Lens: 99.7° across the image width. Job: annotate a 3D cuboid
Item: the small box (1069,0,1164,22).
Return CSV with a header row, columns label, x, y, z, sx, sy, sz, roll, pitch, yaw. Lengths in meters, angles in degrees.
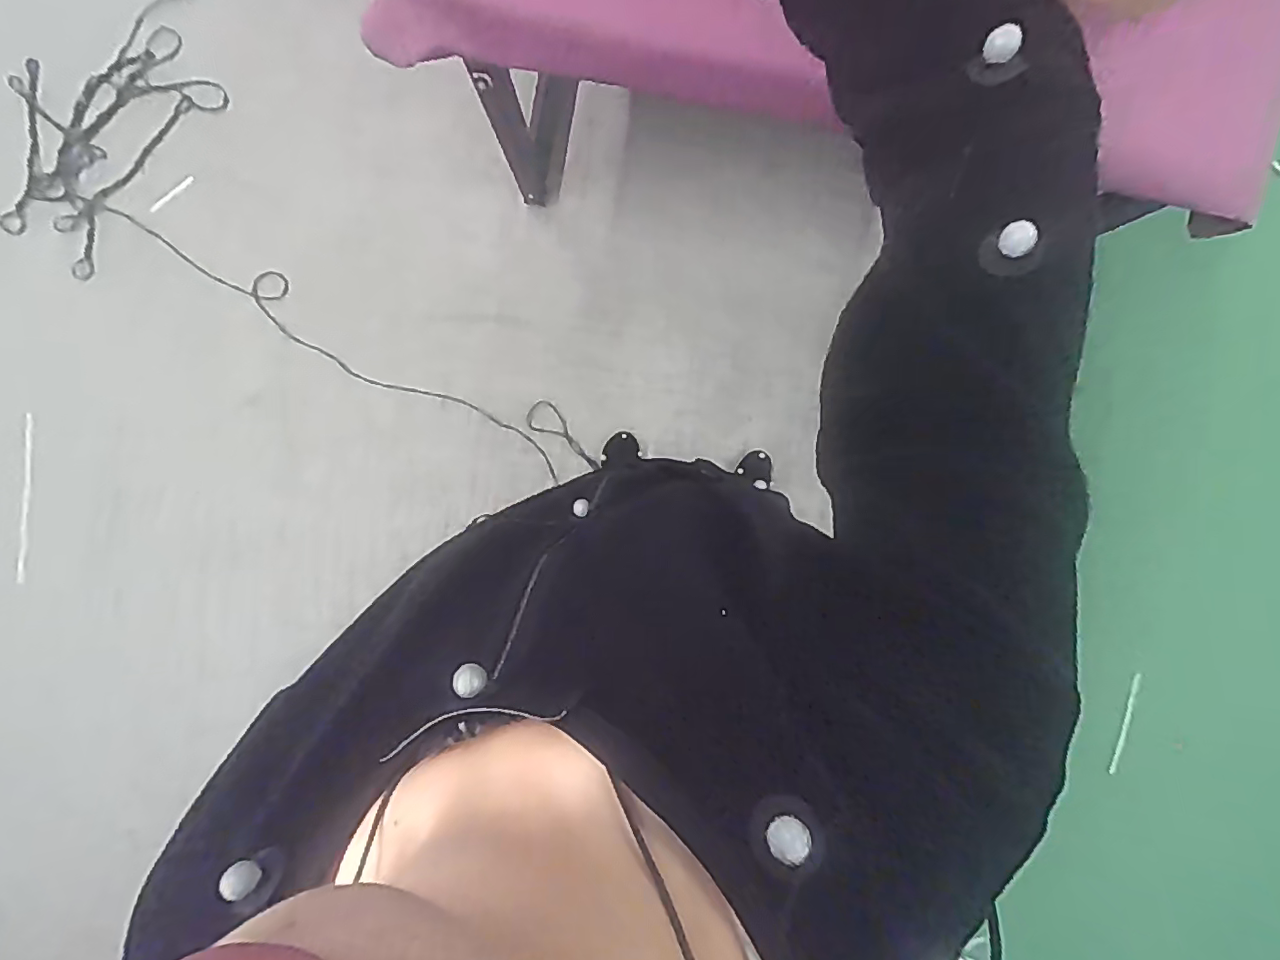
label,x,y,z,sx,sy,sz,roll,pitch,yaw
small box,0.629,-0.715,0.653,0.179,0.176,0.168,20,93,-3
